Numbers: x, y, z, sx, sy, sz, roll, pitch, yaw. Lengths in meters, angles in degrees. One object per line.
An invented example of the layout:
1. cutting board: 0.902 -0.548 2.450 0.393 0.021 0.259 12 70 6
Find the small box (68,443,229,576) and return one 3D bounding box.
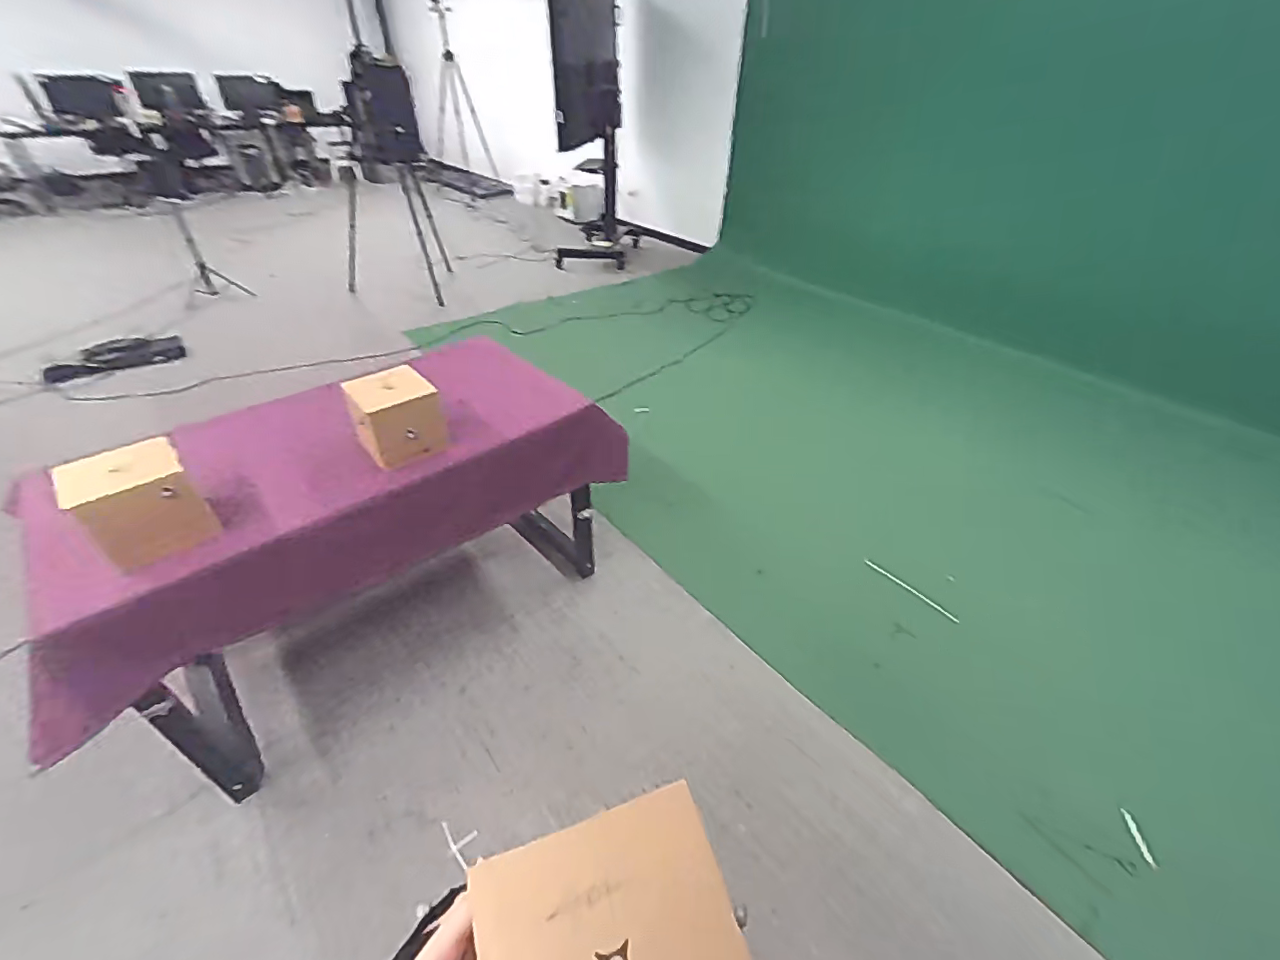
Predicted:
1. small box: -0.963 0.057 1.068 0.179 0.176 0.168 -29 46 -35

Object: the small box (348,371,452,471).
1. small box: -0.585 -0.141 1.333 0.168 0.176 0.179 -27 45 -32
